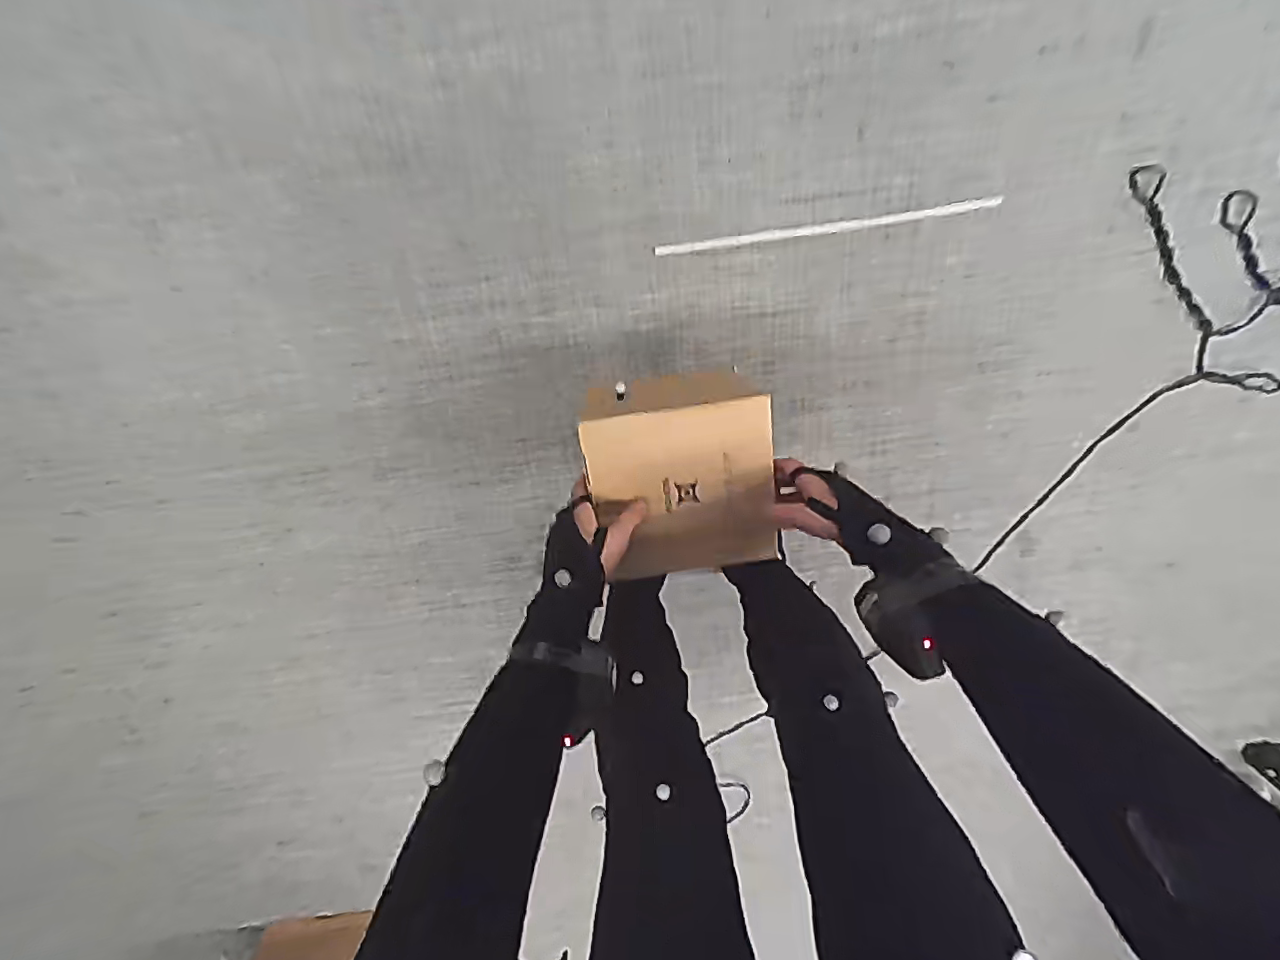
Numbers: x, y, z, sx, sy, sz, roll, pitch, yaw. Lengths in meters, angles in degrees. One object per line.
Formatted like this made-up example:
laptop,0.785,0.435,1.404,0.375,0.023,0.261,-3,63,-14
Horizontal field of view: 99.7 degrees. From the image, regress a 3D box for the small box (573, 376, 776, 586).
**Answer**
small box,0.033,-0.010,0.574,0.179,0.176,0.168,-8,109,-1
